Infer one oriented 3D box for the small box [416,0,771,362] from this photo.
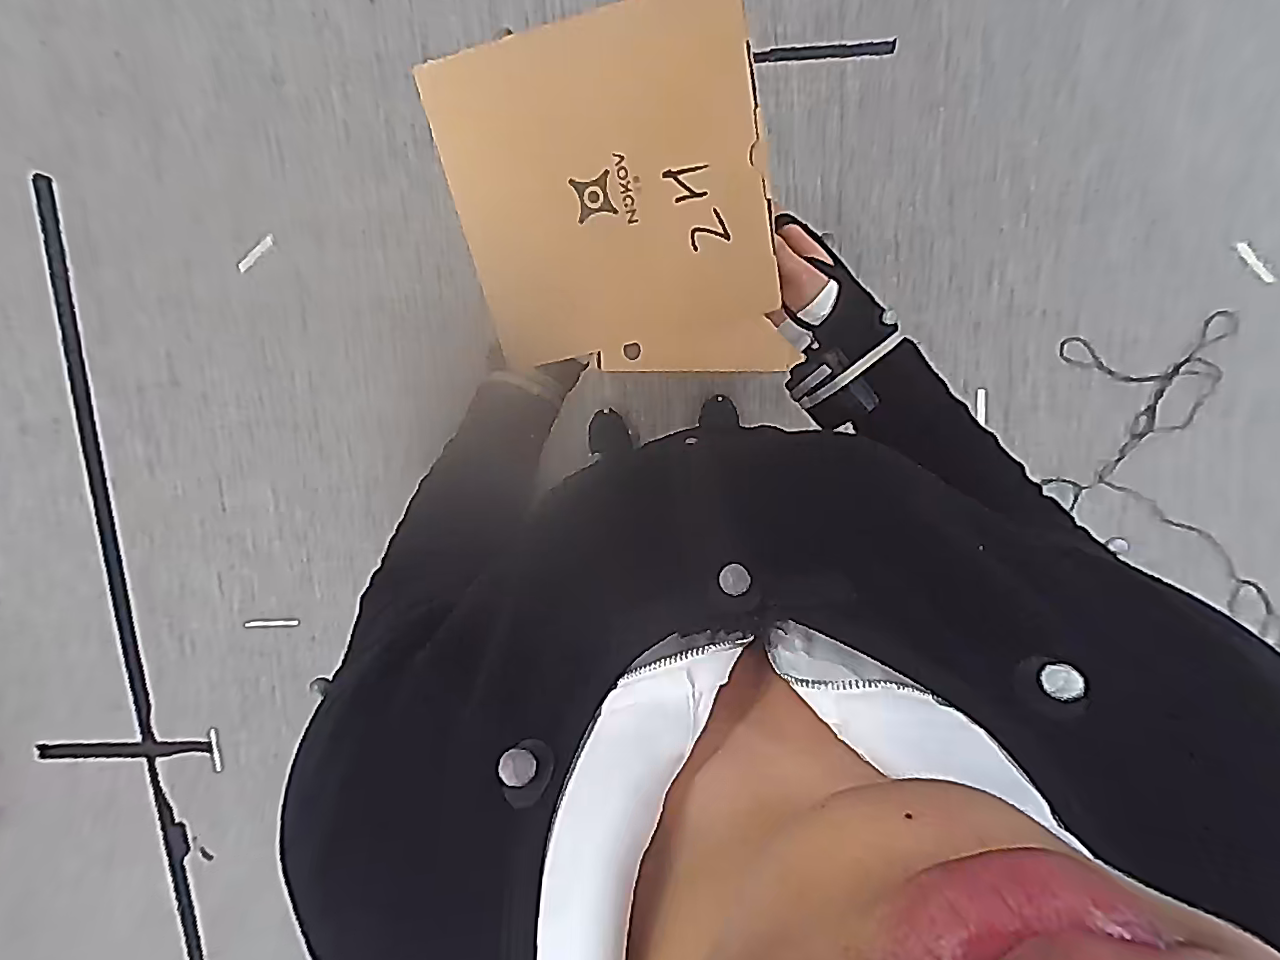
[{"bbox_3d":[-0.017,-0.193,0.382,0.179,0.176,0.168,-11,112,7],"label":"small box"}]
